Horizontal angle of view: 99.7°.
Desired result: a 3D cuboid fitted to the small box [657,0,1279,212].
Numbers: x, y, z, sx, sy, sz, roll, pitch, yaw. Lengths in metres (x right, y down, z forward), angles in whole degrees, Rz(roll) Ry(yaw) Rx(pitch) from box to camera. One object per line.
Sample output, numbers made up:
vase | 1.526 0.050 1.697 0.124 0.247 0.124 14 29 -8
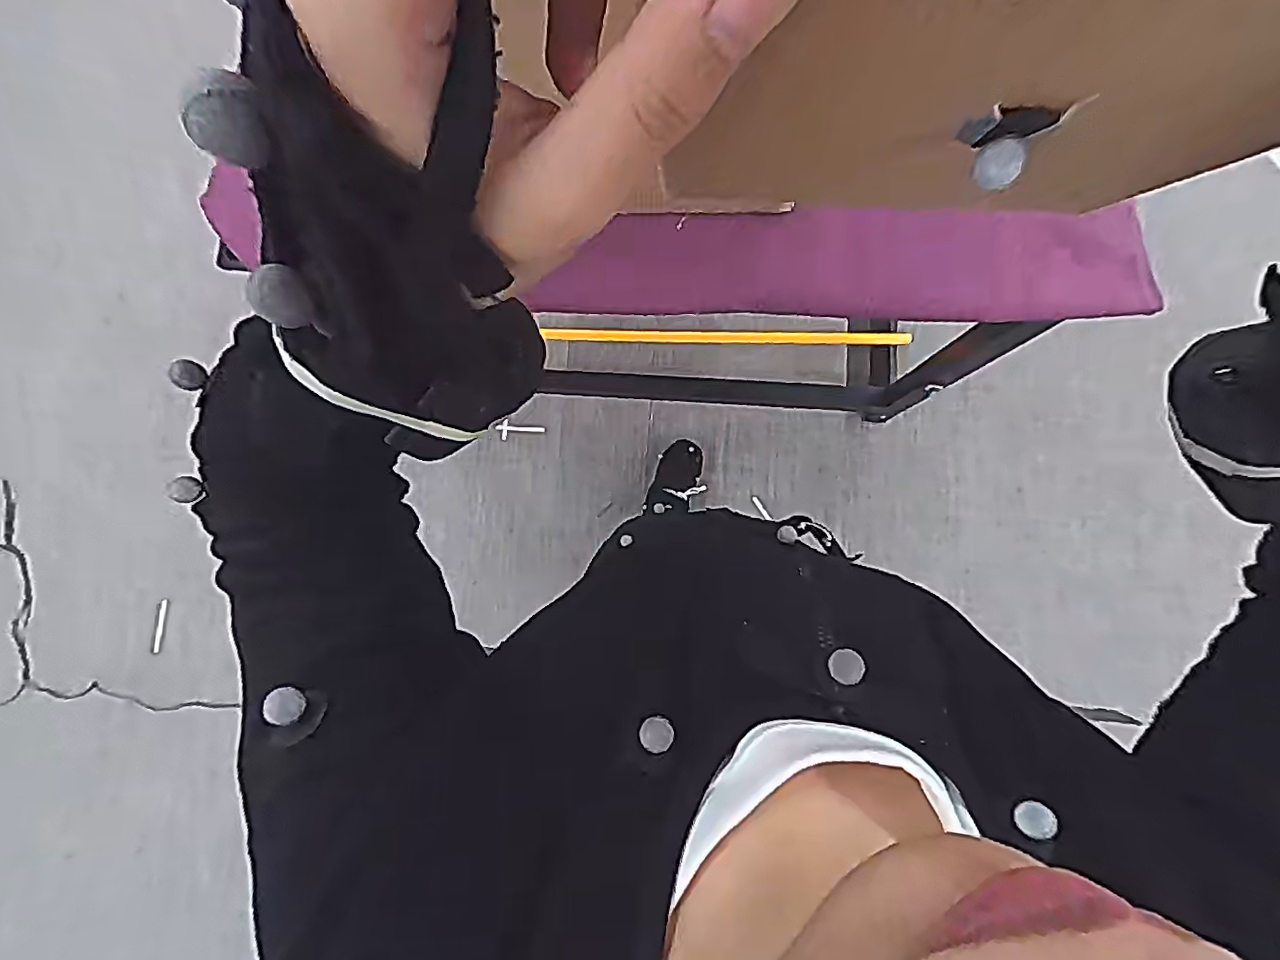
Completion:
small box | 0.090 -0.175 0.119 0.168 0.176 0.179 4 105 4
